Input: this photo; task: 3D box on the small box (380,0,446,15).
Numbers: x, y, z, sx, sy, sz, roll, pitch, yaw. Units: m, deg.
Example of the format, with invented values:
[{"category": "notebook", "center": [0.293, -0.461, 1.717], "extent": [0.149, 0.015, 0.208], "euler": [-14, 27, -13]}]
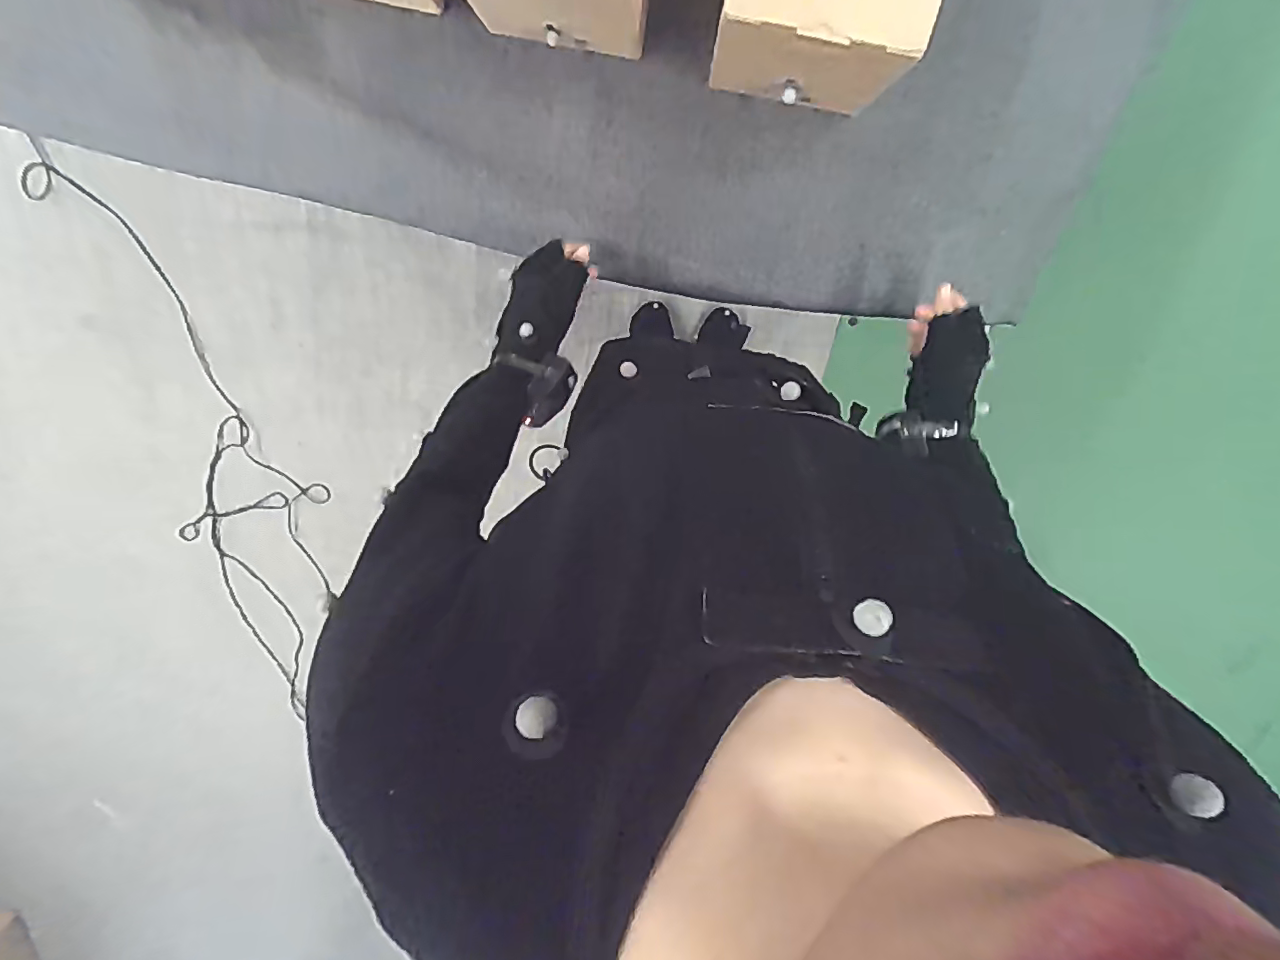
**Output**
[{"category": "small box", "center": [-0.270, -0.555, 0.469], "extent": [0.168, 0.176, 0.179], "euler": [12, 109, -1]}]
